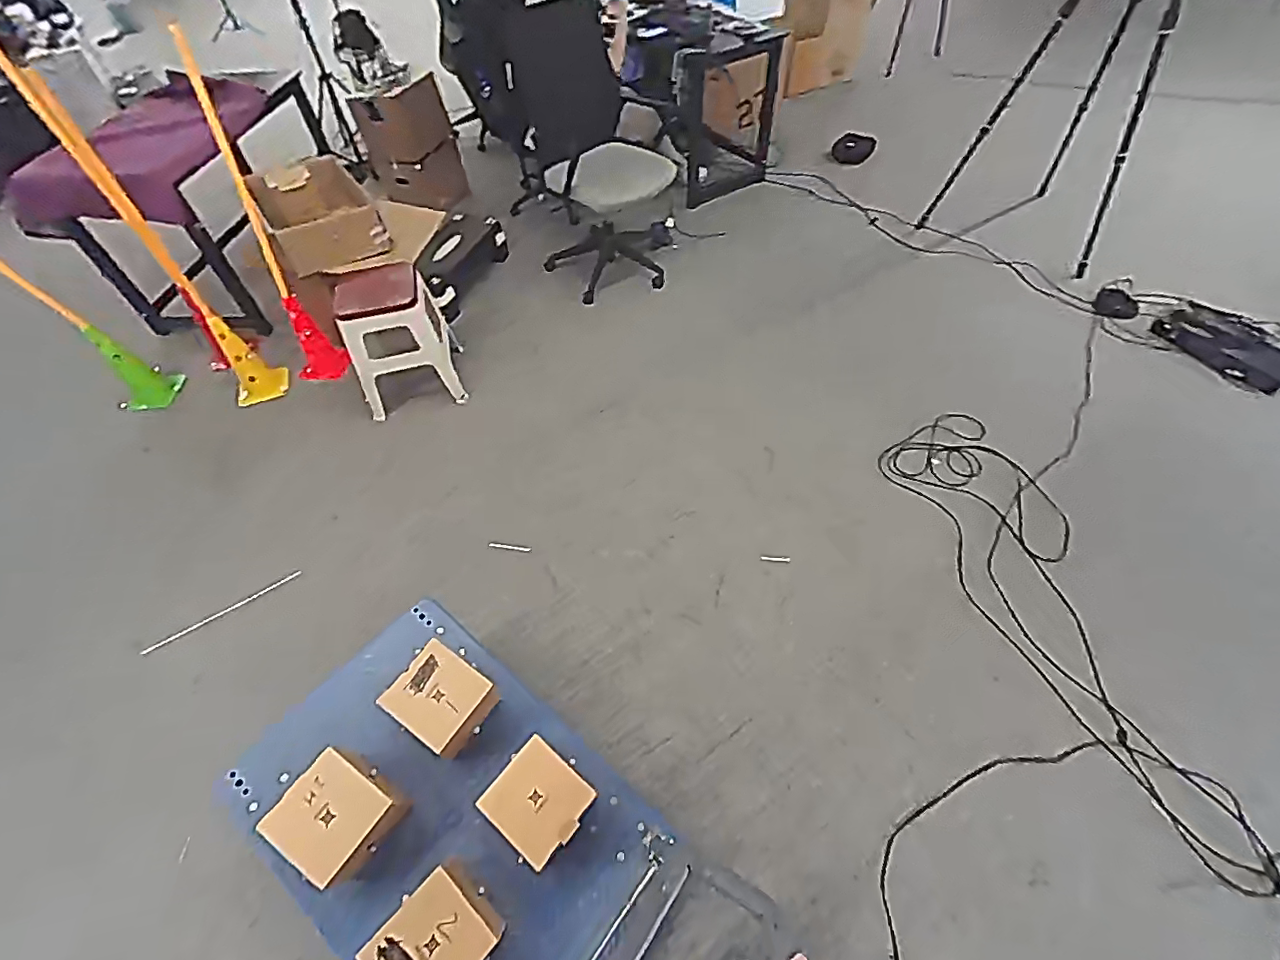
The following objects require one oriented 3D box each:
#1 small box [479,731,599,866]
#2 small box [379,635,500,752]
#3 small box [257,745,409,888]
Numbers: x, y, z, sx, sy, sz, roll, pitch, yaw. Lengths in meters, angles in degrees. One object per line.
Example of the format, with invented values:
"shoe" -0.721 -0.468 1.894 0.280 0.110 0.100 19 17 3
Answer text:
"small box" -0.208 0.659 1.125 0.179 0.176 0.168 38 62 13
"small box" -0.433 0.479 1.197 0.179 0.176 0.168 34 61 11
"small box" -0.591 0.656 1.070 0.179 0.176 0.168 33 60 11
